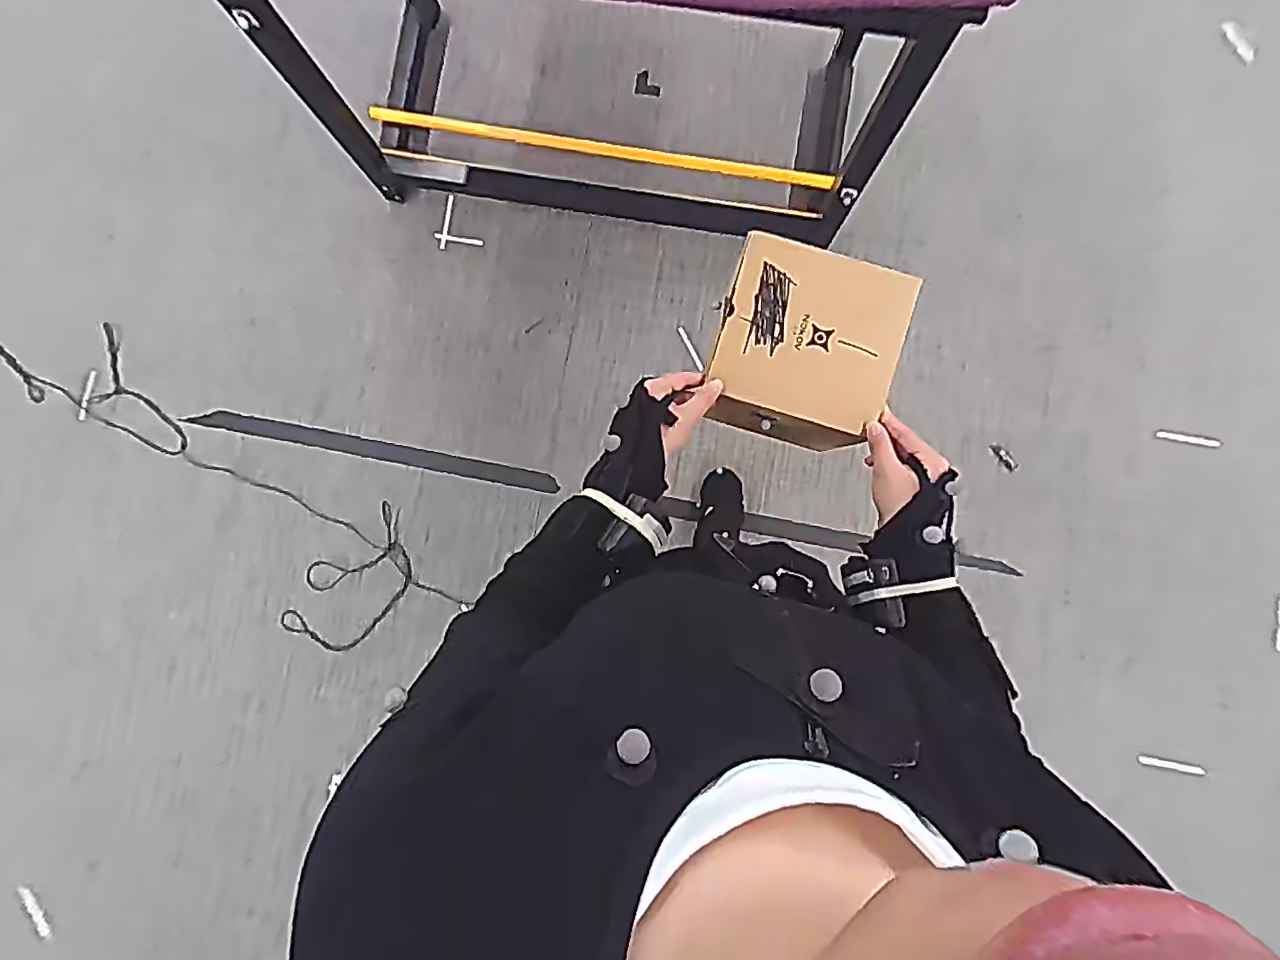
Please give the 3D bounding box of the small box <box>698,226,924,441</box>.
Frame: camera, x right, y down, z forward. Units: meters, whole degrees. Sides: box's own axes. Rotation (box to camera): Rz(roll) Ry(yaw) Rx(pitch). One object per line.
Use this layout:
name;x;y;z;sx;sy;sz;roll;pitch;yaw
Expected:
small box;0.171;-0.146;0.605;0.179;0.176;0.168;17;90;1
